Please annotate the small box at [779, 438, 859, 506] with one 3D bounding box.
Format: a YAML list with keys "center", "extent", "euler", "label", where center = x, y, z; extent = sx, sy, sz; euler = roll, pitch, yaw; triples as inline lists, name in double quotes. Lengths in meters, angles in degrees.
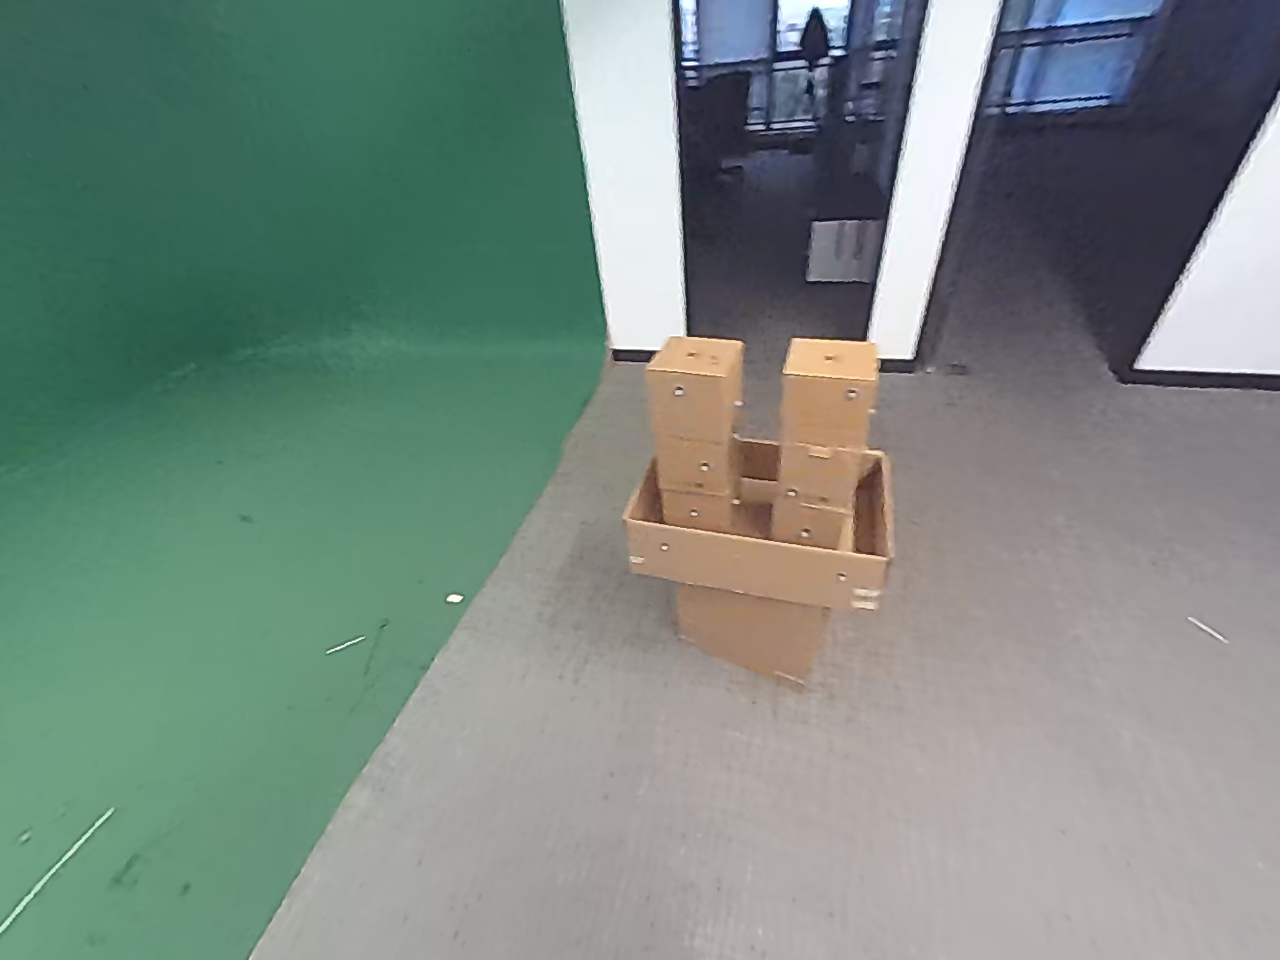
- center: [0.420, -0.060, 1.263]
  extent: [0.168, 0.176, 0.179]
  euler: [8, 41, 19]
  label: "small box"

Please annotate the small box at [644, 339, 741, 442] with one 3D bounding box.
- center: [0.124, -0.204, 1.229]
  extent: [0.179, 0.176, 0.168]
  euler: [10, 43, 19]
  label: "small box"

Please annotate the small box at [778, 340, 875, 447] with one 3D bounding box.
- center: [0.398, -0.187, 1.163]
  extent: [0.179, 0.176, 0.168]
  euler: [8, 42, 18]
  label: "small box"

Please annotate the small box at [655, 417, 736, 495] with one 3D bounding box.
- center: [0.145, -0.082, 1.338]
  extent: [0.168, 0.176, 0.179]
  euler: [7, 41, 17]
  label: "small box"
